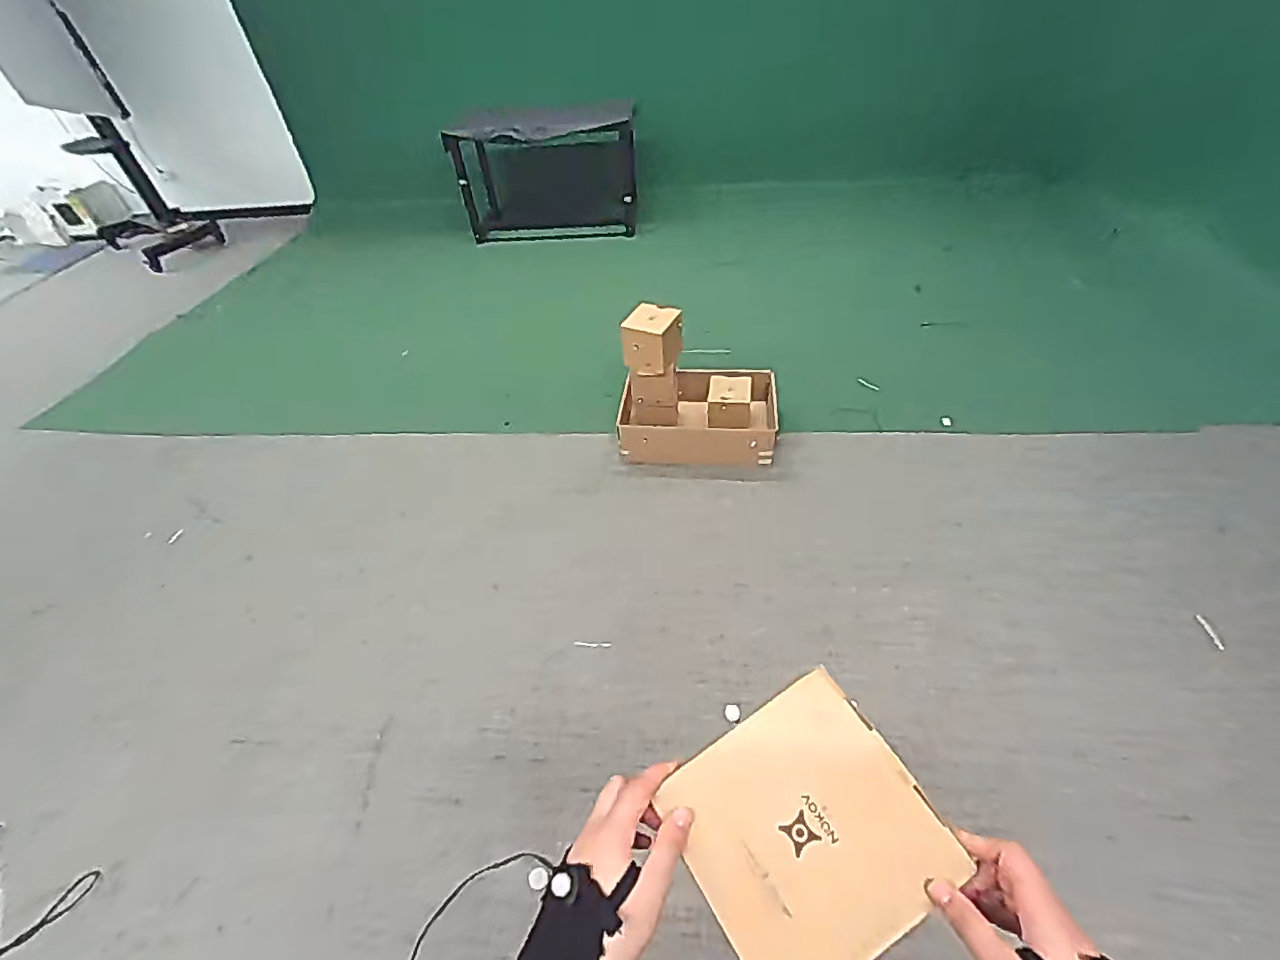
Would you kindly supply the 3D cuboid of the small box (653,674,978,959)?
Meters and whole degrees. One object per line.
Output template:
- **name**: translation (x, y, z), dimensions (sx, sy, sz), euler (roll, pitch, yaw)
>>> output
- **small box**: translation (0.133, 0.291, 0.468), dimensions (0.179, 0.176, 0.168), euler (-34, 65, -6)

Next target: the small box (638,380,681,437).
- **small box**: translation (0.082, -0.297, 2.229), dimensions (0.168, 0.176, 0.179), euler (0, 45, 6)

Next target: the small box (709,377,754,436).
- **small box**: translation (0.374, -0.301, 2.209), dimensions (0.168, 0.176, 0.179), euler (4, 46, 11)

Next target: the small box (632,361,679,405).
- **small box**: translation (0.065, -0.406, 2.107), dimensions (0.168, 0.176, 0.179), euler (2, 45, 6)

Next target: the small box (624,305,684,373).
- **small box**: translation (0.057, -0.515, 1.987), dimensions (0.168, 0.176, 0.179), euler (19, 49, 21)
